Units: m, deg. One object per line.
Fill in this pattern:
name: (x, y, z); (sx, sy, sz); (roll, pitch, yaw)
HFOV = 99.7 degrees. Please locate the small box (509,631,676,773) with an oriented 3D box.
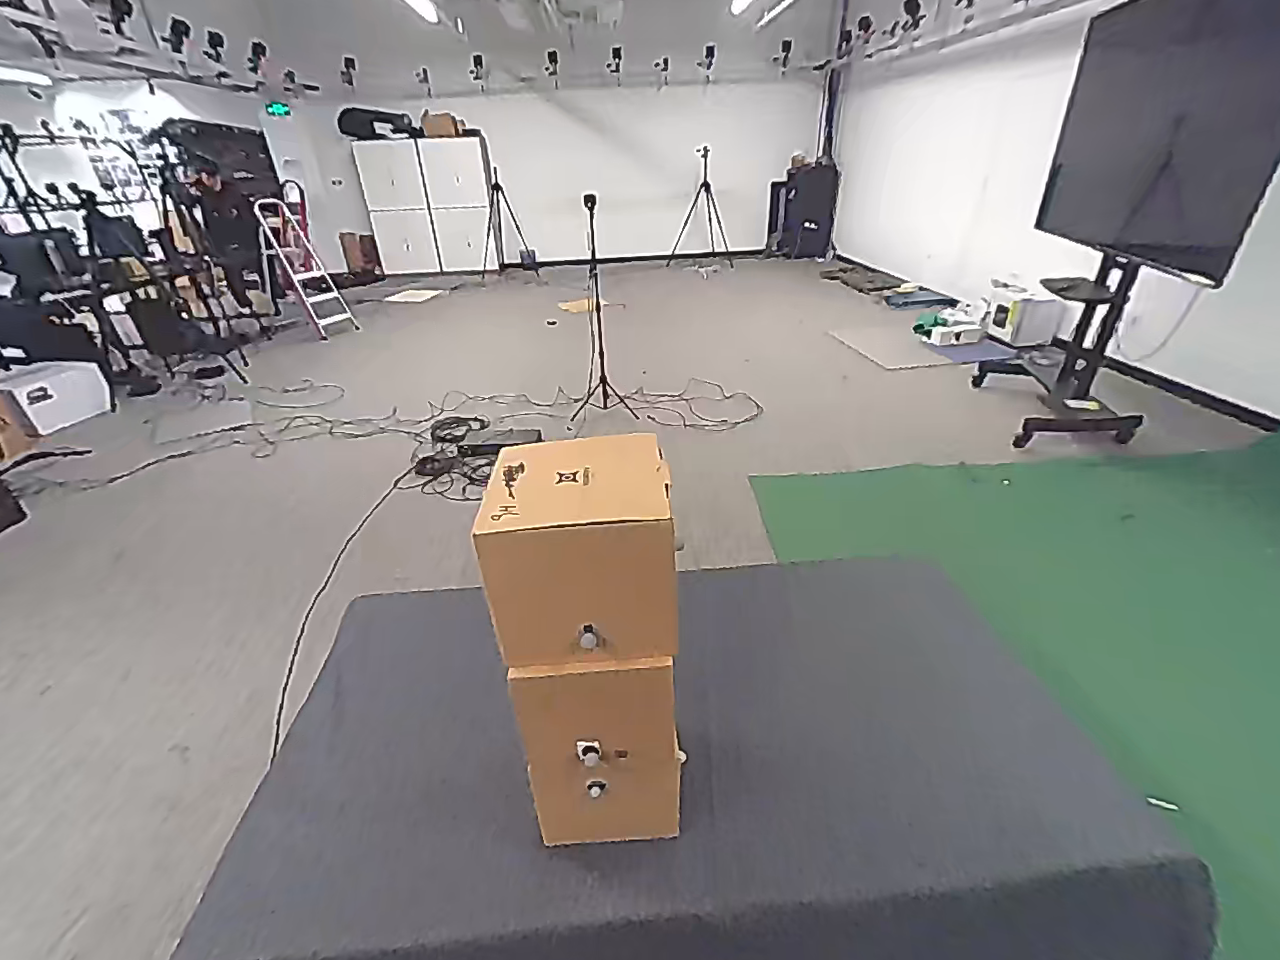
small box: (-0.048, 0.215, 0.646); (0.168, 0.176, 0.179); (-5, 31, -1)

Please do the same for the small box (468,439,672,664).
small box: (-0.059, 0.071, 0.568); (0.179, 0.176, 0.168); (-4, 30, 0)

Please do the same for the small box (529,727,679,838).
small box: (-0.041, 0.353, 0.729); (0.179, 0.176, 0.168); (-2, 30, -1)
